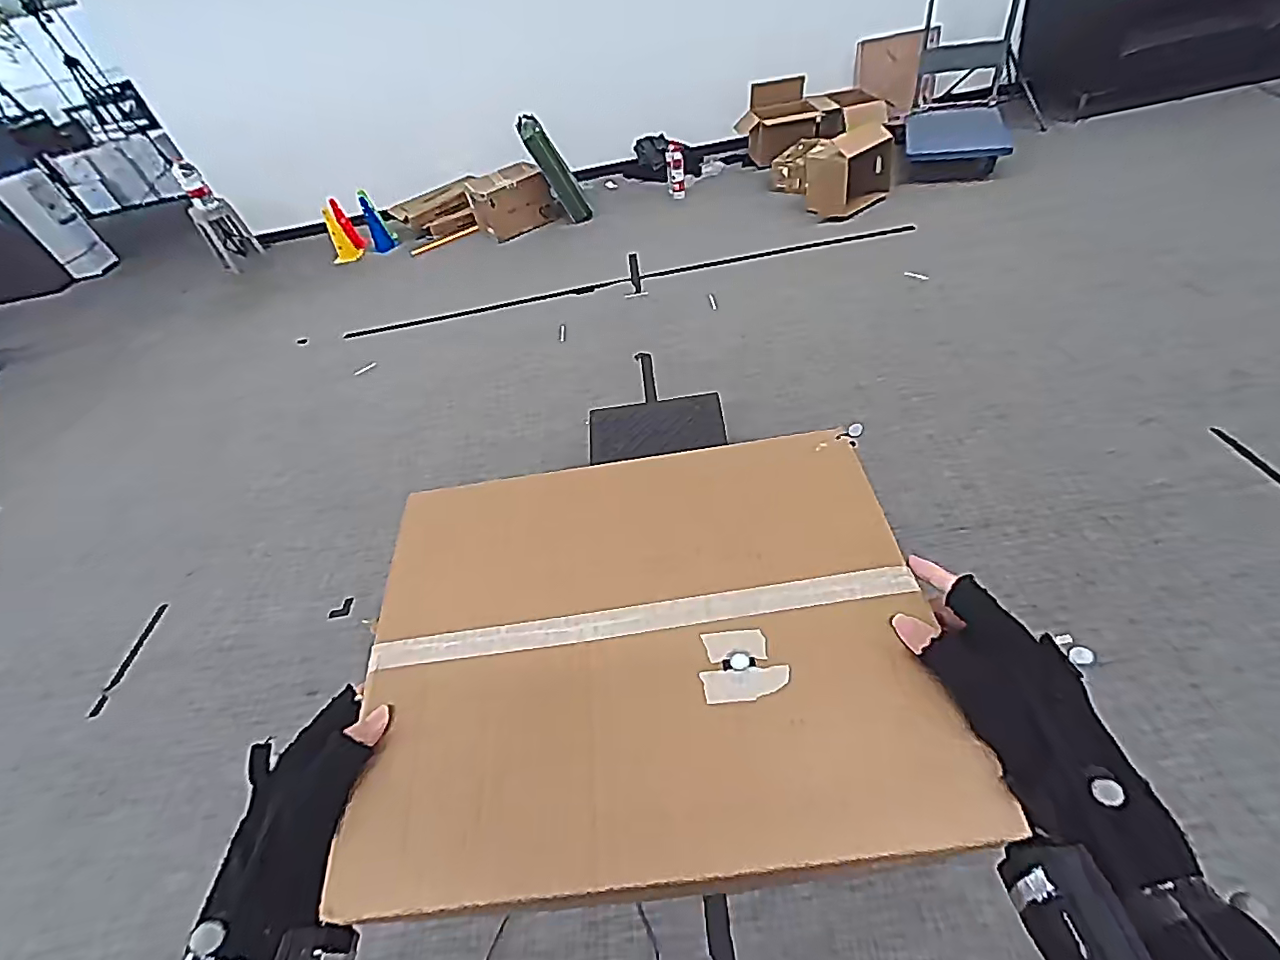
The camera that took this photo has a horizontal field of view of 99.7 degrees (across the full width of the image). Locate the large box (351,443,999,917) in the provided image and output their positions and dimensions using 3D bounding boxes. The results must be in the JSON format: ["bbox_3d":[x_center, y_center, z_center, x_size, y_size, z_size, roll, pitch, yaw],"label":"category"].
[{"bbox_3d":[0.019,0.206,0.529,0.408,0.320,0.320,-9,51,2],"label":"large box"}]
